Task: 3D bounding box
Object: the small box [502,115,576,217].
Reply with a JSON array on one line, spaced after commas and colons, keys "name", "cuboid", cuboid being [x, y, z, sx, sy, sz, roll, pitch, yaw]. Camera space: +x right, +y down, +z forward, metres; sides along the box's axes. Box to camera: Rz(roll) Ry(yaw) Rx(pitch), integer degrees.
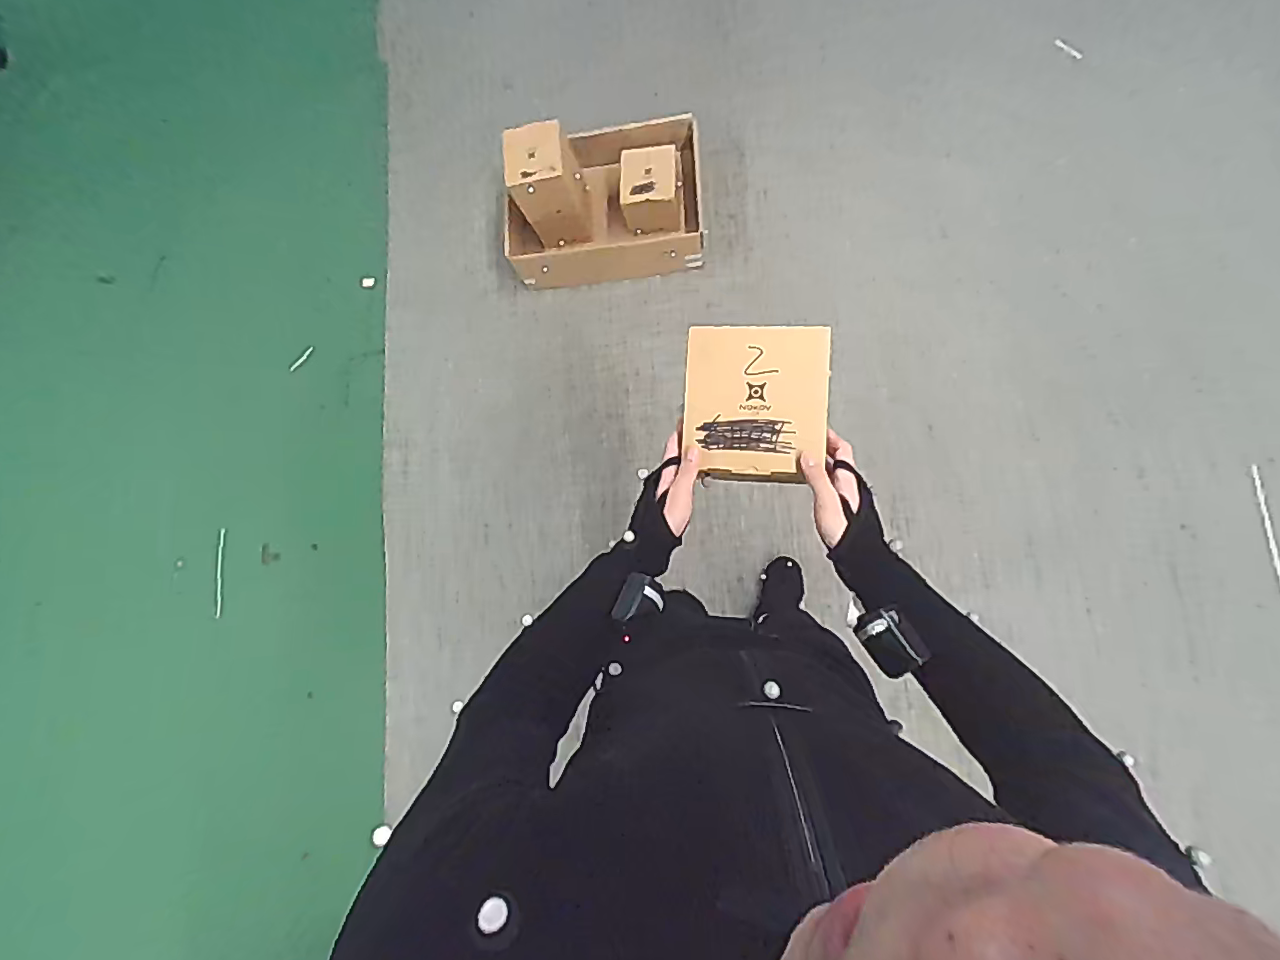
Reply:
[{"name": "small box", "cuboid": [-0.287, -0.899, 1.558, 0.168, 0.176, 0.179, -6, 81, 10]}]
